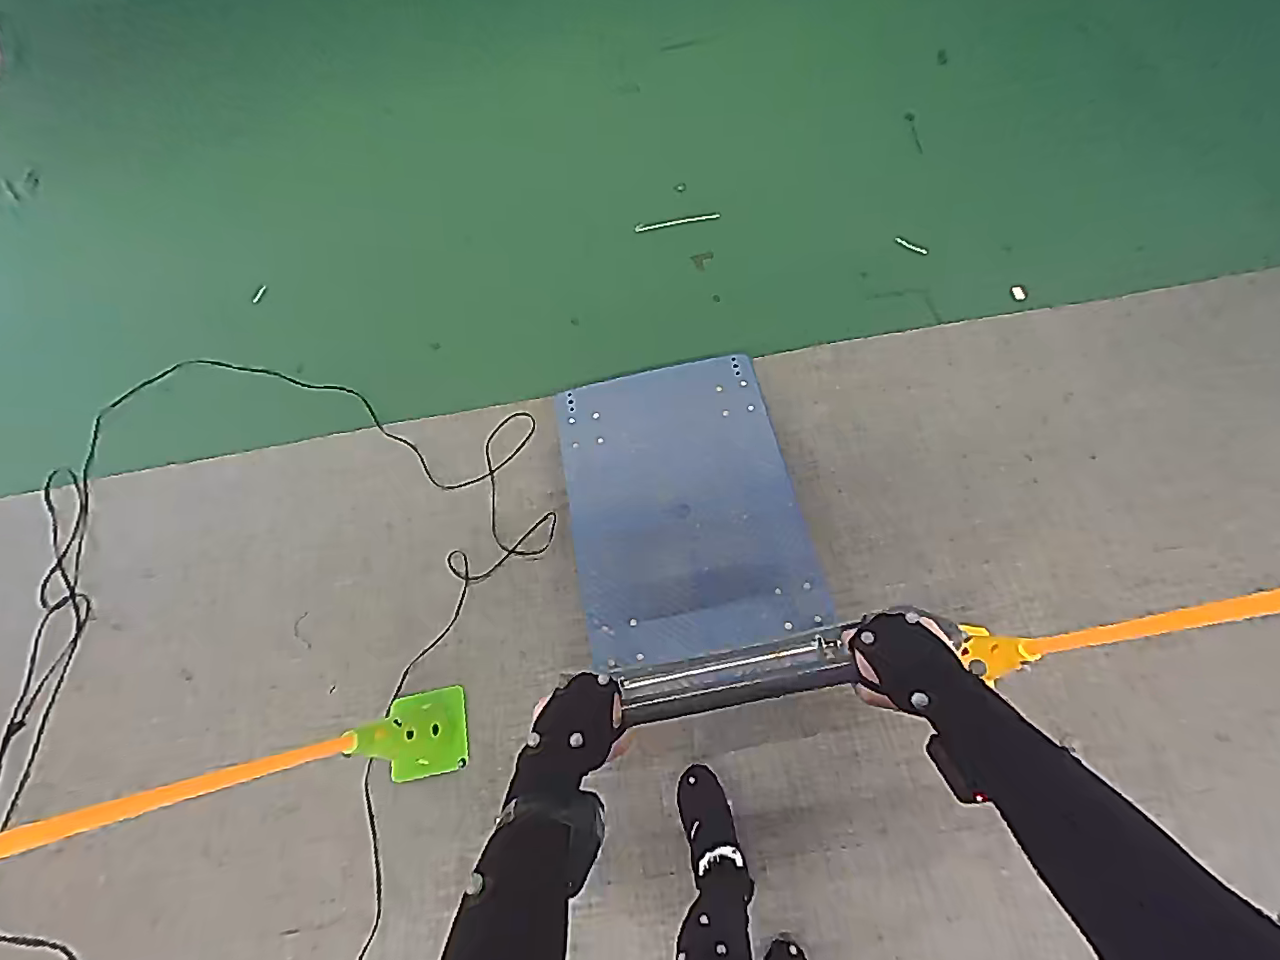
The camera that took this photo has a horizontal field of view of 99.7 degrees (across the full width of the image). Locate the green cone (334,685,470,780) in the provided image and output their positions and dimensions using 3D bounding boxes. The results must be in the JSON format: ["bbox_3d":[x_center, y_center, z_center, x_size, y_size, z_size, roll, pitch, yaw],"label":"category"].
[{"bbox_3d":[-0.564,0.585,1.241,0.202,0.368,0.200,-14,66,2],"label":"green cone"}]
